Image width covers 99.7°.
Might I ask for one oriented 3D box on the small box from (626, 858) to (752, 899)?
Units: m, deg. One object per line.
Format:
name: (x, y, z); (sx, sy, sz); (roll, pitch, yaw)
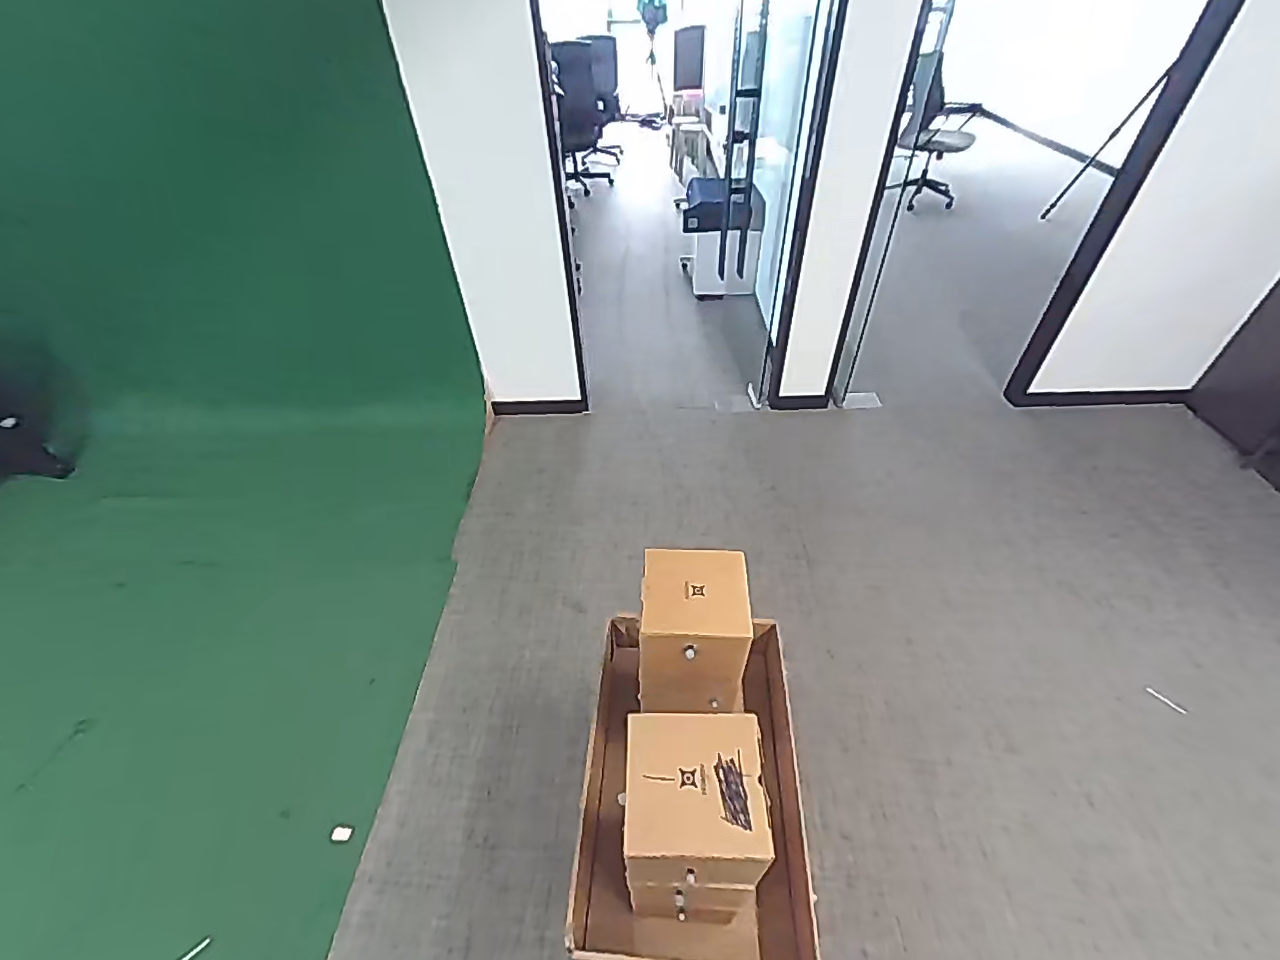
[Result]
small box: (0.076, 0.543, 0.850); (0.179, 0.176, 0.168); (0, 46, 4)

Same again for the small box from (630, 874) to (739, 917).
small box: (0.078, 0.660, 0.965); (0.179, 0.176, 0.168); (4, 45, 4)

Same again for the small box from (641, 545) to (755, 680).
small box: (0.093, 0.230, 0.933); (0.179, 0.176, 0.168); (1, 45, 3)

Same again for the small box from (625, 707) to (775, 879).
small box: (0.073, 0.425, 0.734); (0.179, 0.176, 0.168); (0, 45, 3)
